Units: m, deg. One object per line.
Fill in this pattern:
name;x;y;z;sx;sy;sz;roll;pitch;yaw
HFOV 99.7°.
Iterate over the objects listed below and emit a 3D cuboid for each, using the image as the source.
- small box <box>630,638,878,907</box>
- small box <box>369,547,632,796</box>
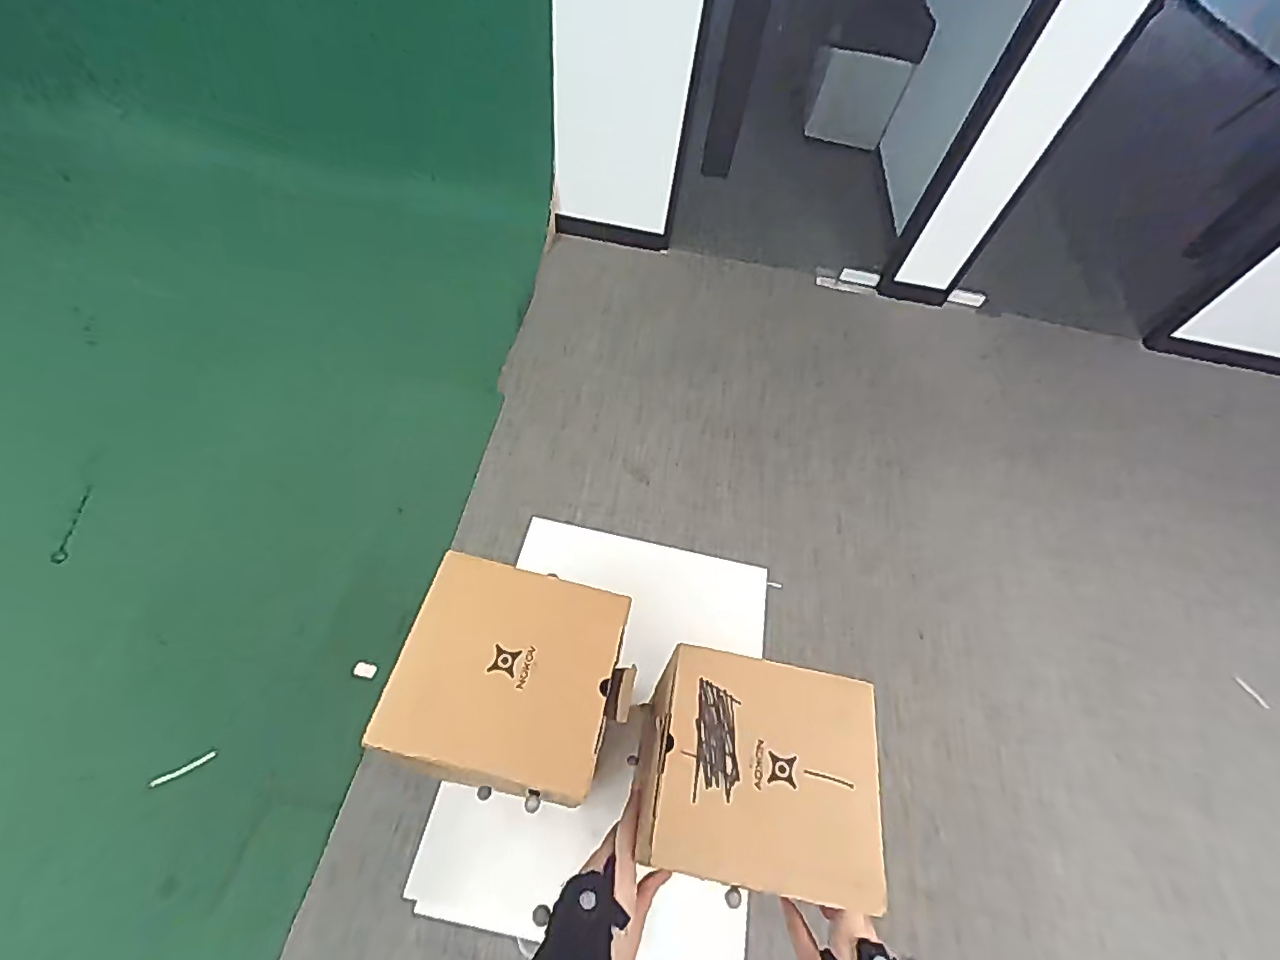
small box;0.093;0.268;0.500;0.179;0.176;0.168;13;56;1
small box;-0.120;0.191;0.519;0.179;0.176;0.168;15;55;-2
